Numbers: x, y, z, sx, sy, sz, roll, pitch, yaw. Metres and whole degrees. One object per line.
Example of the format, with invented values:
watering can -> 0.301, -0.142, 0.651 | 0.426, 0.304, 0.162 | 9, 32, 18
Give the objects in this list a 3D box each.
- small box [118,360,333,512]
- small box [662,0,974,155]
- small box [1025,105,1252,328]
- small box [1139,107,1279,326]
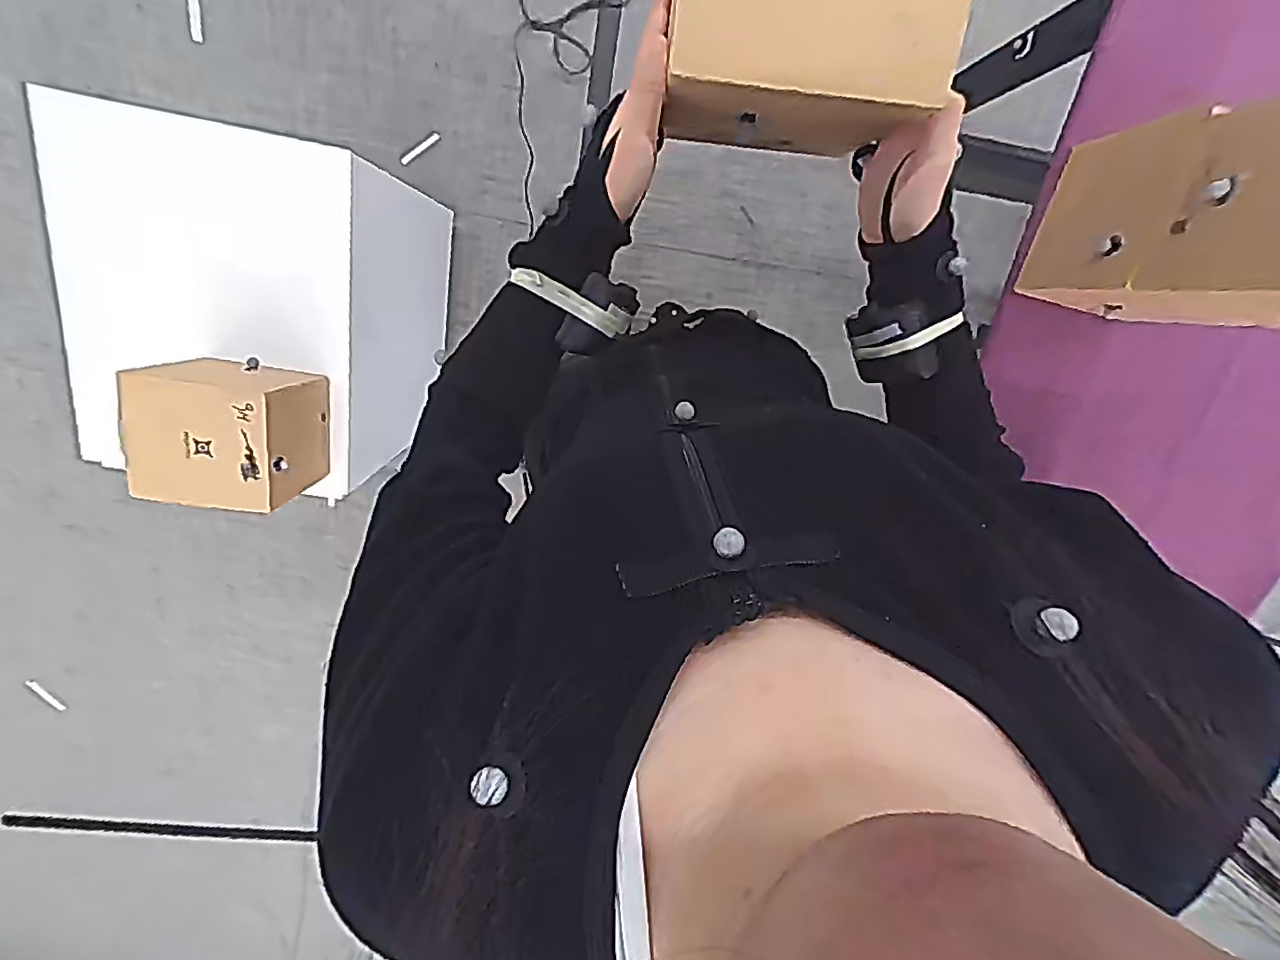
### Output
small box -> -0.564, -0.071, 0.758 | 0.179, 0.176, 0.168 | 8, 107, -6
small box -> 0.105, -0.332, 0.355 | 0.168, 0.176, 0.179 | 5, 110, -2
small box -> 0.599, -0.286, 0.625 | 0.168, 0.176, 0.179 | 11, 107, -8
small box -> 0.618, -0.229, 0.473 | 0.179, 0.176, 0.168 | 11, 108, -7
